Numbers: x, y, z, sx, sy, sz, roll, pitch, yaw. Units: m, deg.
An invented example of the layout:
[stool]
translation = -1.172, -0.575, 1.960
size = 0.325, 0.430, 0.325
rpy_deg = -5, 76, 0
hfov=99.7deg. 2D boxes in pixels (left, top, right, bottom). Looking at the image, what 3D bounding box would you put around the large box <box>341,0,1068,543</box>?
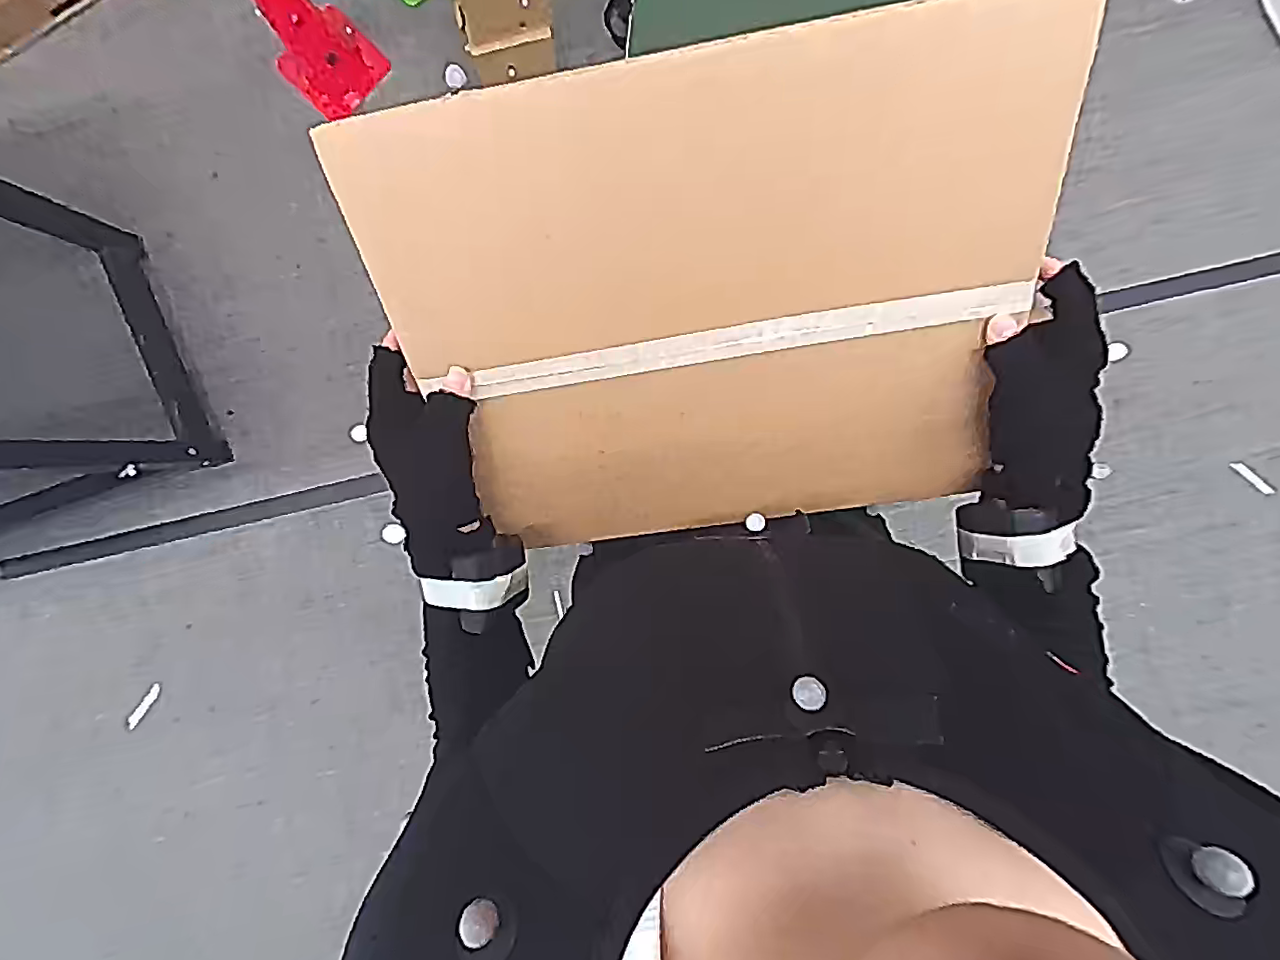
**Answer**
[large box]
translation = 0.044, -0.180, 0.494
size = 0.408, 0.320, 0.320
rpy_deg = -8, 126, 5
